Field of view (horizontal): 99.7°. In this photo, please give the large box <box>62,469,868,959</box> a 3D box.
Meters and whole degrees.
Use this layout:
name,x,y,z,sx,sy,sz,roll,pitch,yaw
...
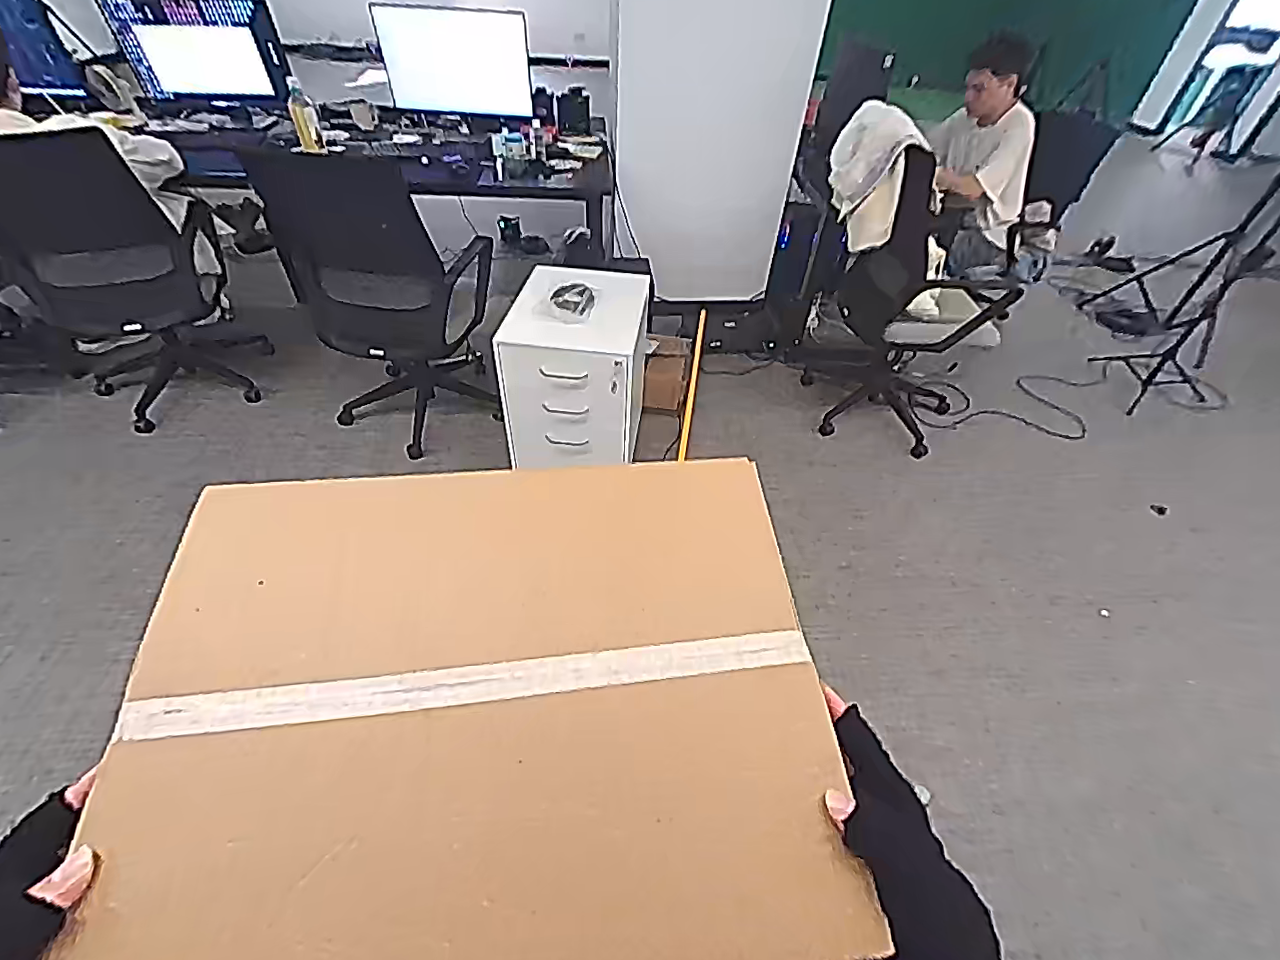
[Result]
name,x,y,z,sx,sy,sz,roll,pitch,yaw
large box,-0.102,0.213,0.462,0.408,0.320,0.320,-4,57,-8
